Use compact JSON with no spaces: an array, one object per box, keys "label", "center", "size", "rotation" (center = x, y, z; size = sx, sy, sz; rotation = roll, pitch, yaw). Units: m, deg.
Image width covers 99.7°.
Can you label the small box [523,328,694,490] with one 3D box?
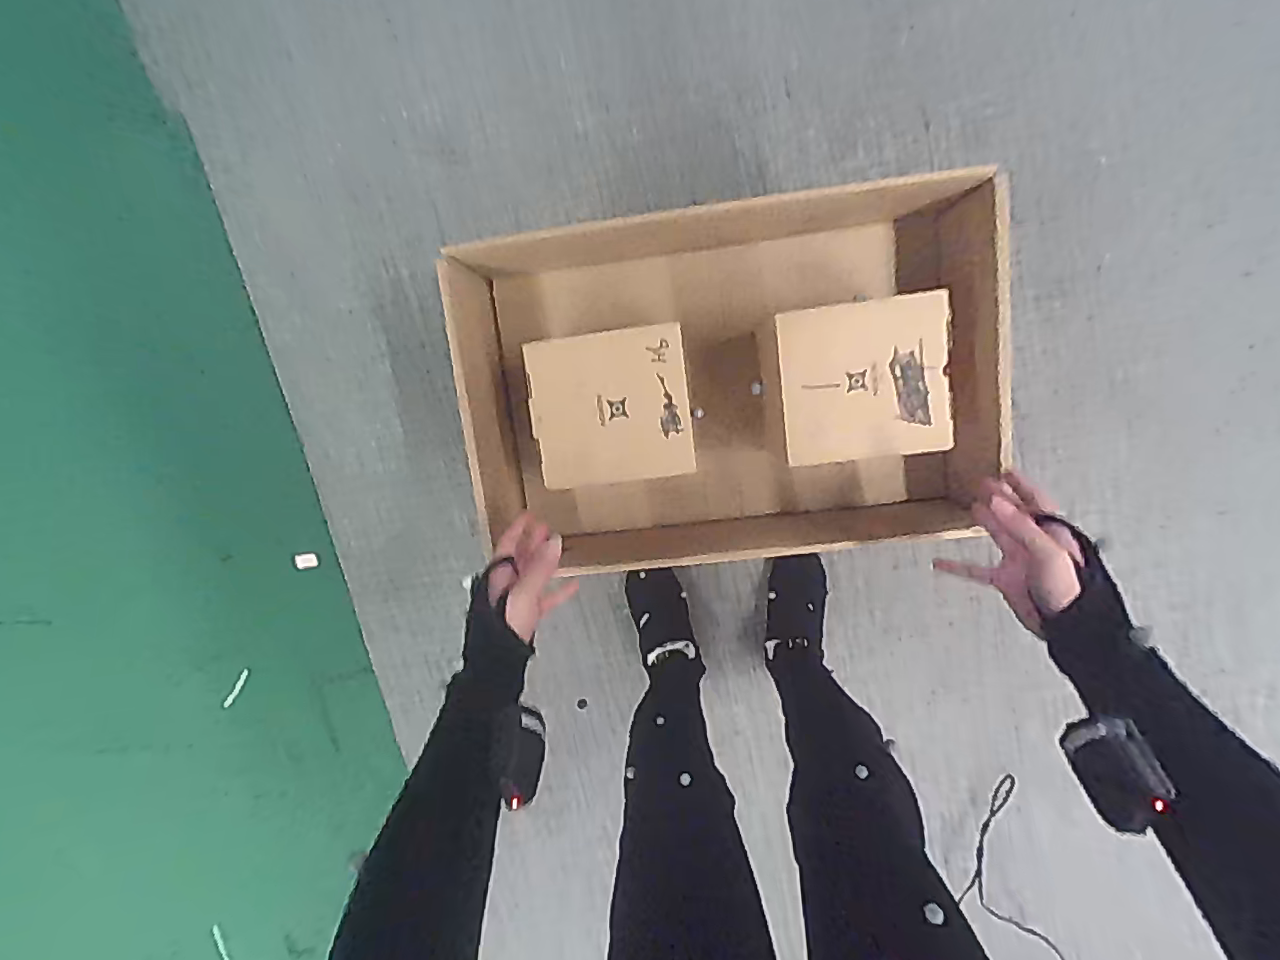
[{"label":"small box","center":[-0.028,-0.086,0.679],"size":[0.179,0.176,0.168],"rotation":[-6,98,7]}]
